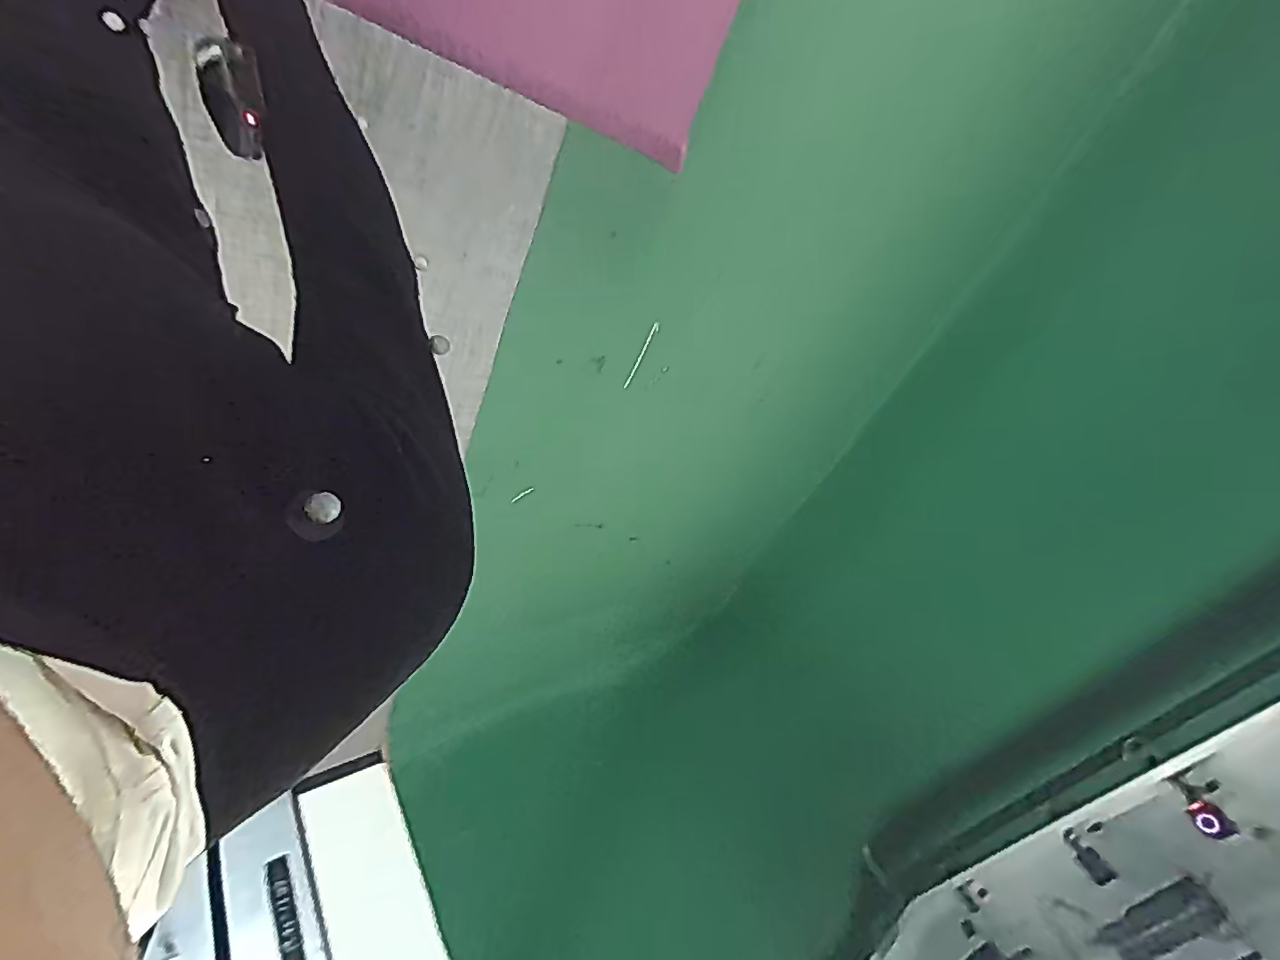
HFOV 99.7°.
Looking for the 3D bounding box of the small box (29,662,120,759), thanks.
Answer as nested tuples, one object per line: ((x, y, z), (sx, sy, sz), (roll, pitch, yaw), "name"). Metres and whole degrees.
((-1.584, 0.632, 1.512), (0.168, 0.176, 0.179), (0, 132, -48), "small box")

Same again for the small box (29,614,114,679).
((-1.676, 0.526, 1.597), (0.168, 0.176, 0.179), (-2, 132, -47), "small box")

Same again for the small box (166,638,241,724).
((-1.390, 0.633, 1.719), (0.168, 0.176, 0.179), (0, 131, -45), "small box")
